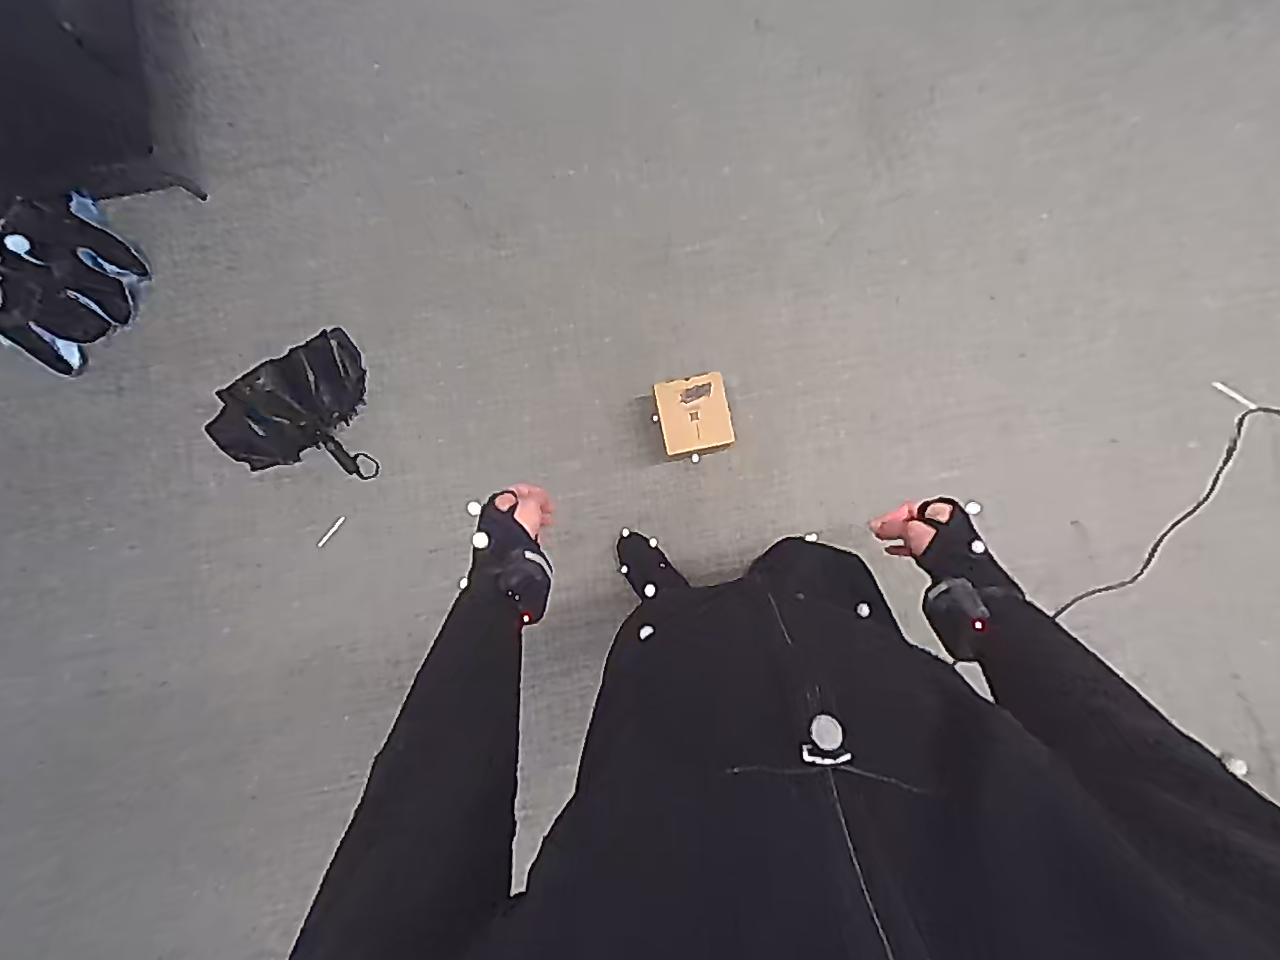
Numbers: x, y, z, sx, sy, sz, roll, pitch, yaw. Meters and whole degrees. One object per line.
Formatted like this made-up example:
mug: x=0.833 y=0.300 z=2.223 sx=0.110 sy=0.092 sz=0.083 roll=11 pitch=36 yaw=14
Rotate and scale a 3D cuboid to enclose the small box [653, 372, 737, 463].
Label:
small box: x=0.127 y=-0.147 z=1.327 sx=0.168 sy=0.176 sz=0.179 roll=-12 pitch=88 yaw=0
